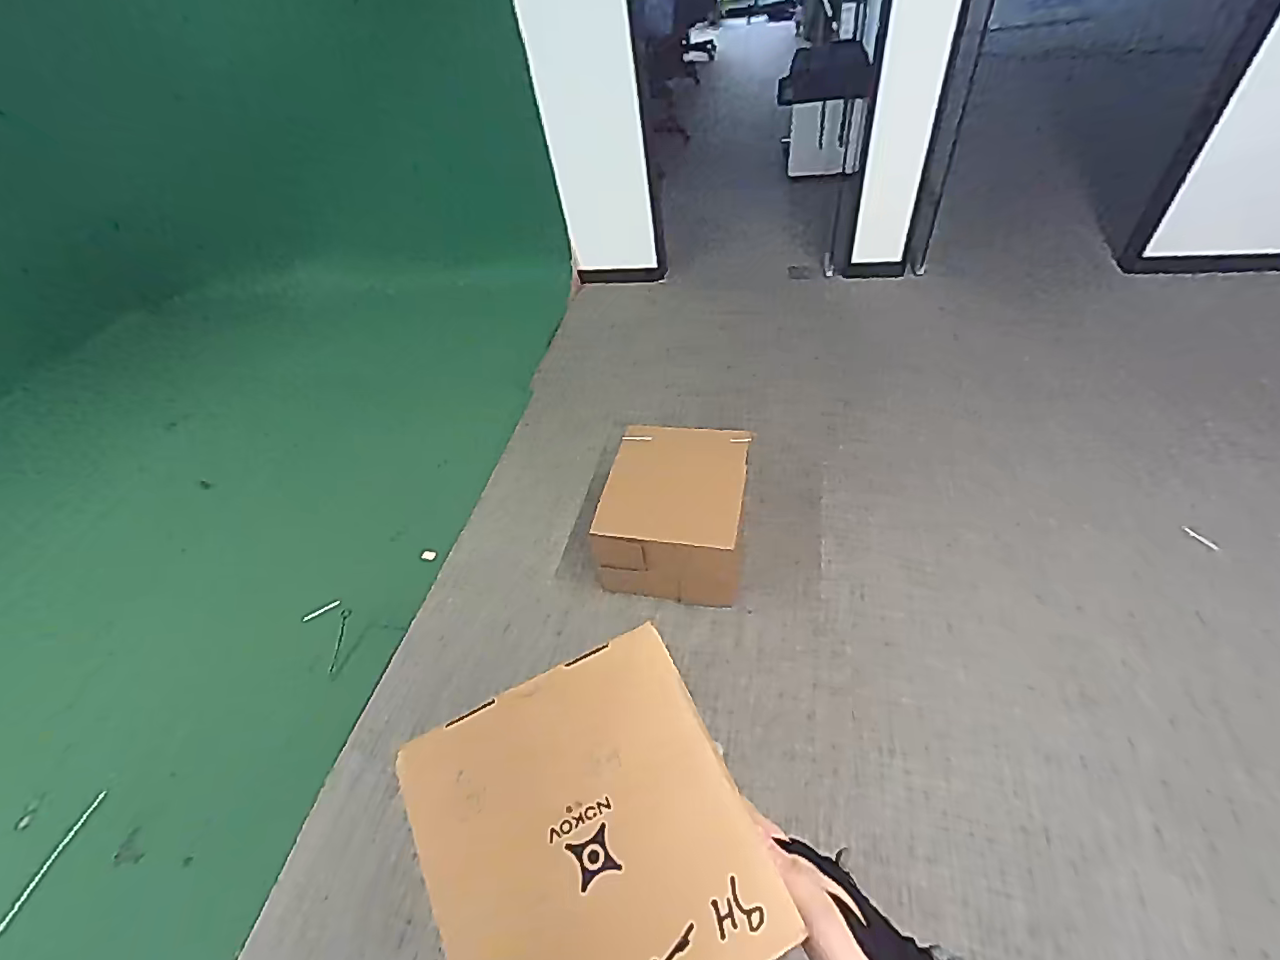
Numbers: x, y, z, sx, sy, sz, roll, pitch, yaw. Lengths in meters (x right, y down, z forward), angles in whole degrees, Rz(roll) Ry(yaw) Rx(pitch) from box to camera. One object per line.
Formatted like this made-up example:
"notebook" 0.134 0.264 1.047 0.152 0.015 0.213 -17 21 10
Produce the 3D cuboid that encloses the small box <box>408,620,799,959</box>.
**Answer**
"small box" -0.027 0.224 0.364 0.168 0.176 0.179 -23 65 -10
